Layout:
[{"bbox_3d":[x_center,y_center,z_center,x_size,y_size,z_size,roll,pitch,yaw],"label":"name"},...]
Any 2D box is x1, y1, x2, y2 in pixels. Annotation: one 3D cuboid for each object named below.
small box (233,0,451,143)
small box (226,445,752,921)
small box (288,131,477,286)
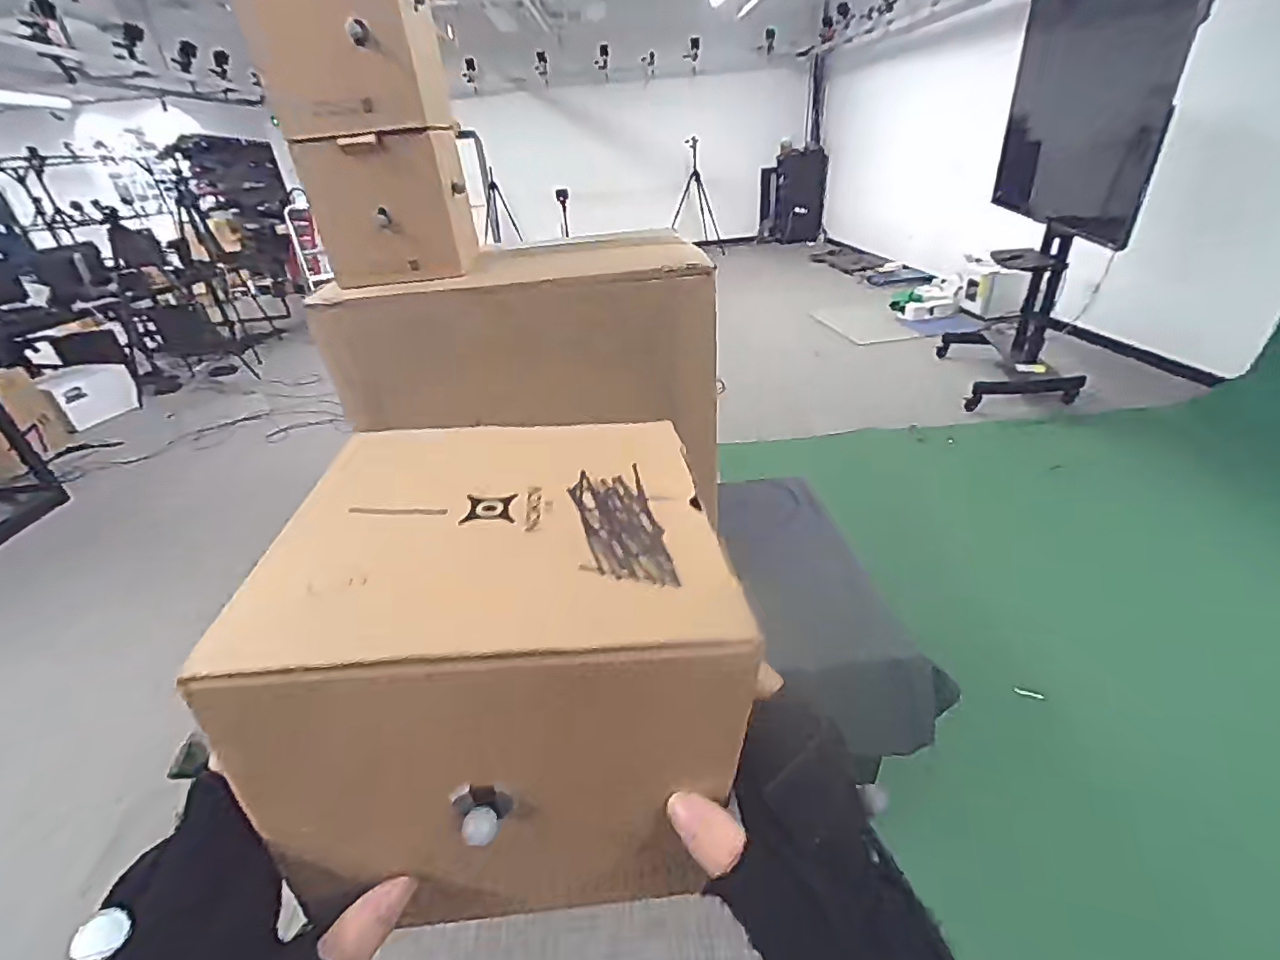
[{"bbox_3d":[-0.337,-0.501,0.642,0.168,0.176,0.179,-6,32,-4],"label":"small box"},{"bbox_3d":[-0.059,0.093,0.288,0.179,0.176,0.168,-1,29,-8],"label":"small box"},{"bbox_3d":[-0.329,-0.369,0.737,0.168,0.176,0.179,-7,34,-5],"label":"small box"}]
